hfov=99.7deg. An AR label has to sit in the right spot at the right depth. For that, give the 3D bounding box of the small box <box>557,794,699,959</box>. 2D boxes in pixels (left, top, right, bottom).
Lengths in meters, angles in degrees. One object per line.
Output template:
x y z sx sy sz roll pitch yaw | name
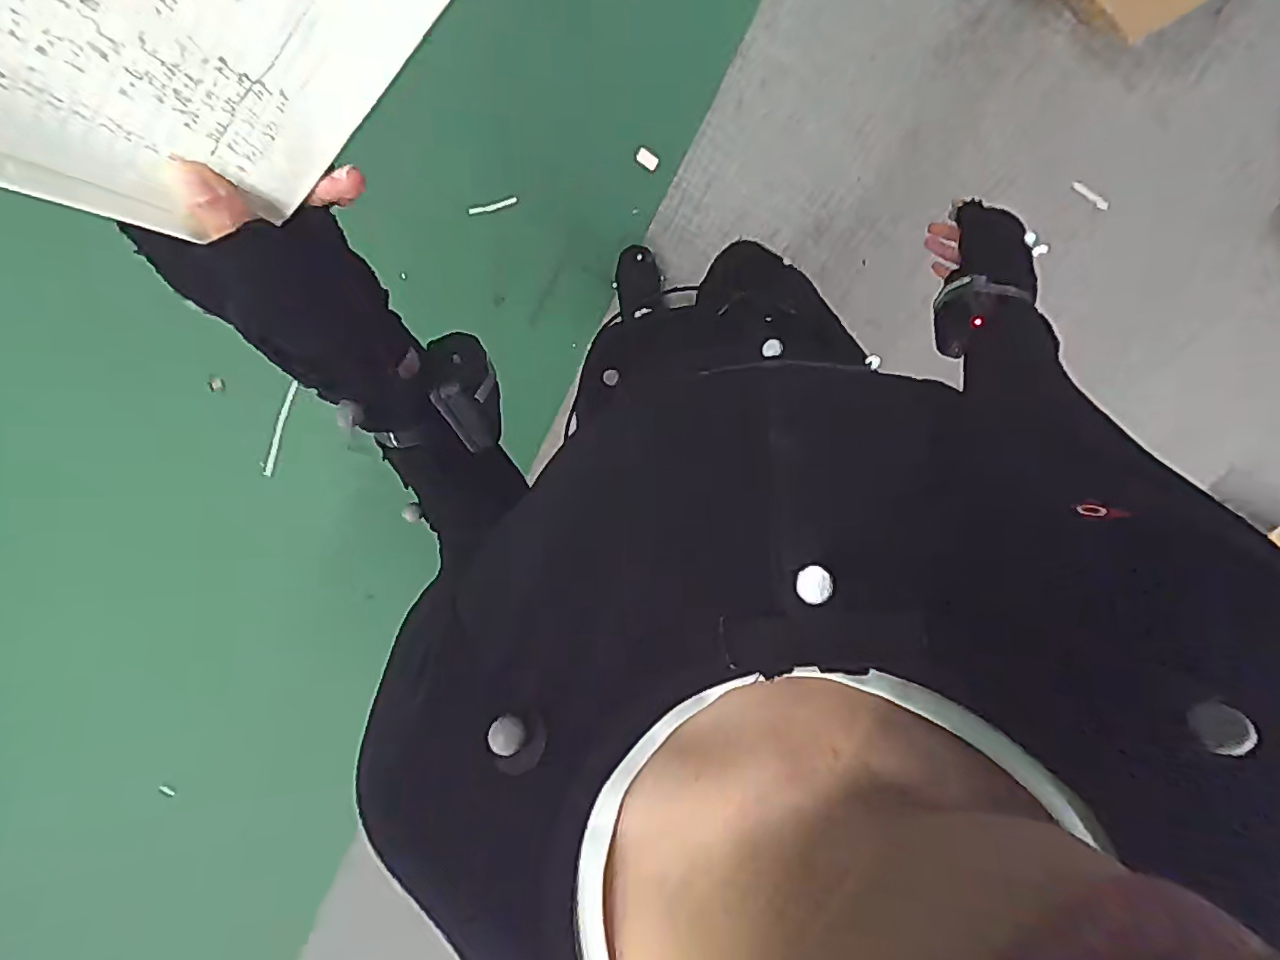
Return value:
-0.023 0.687 0.933 0.168 0.176 0.179 33 108 -13 | small box
